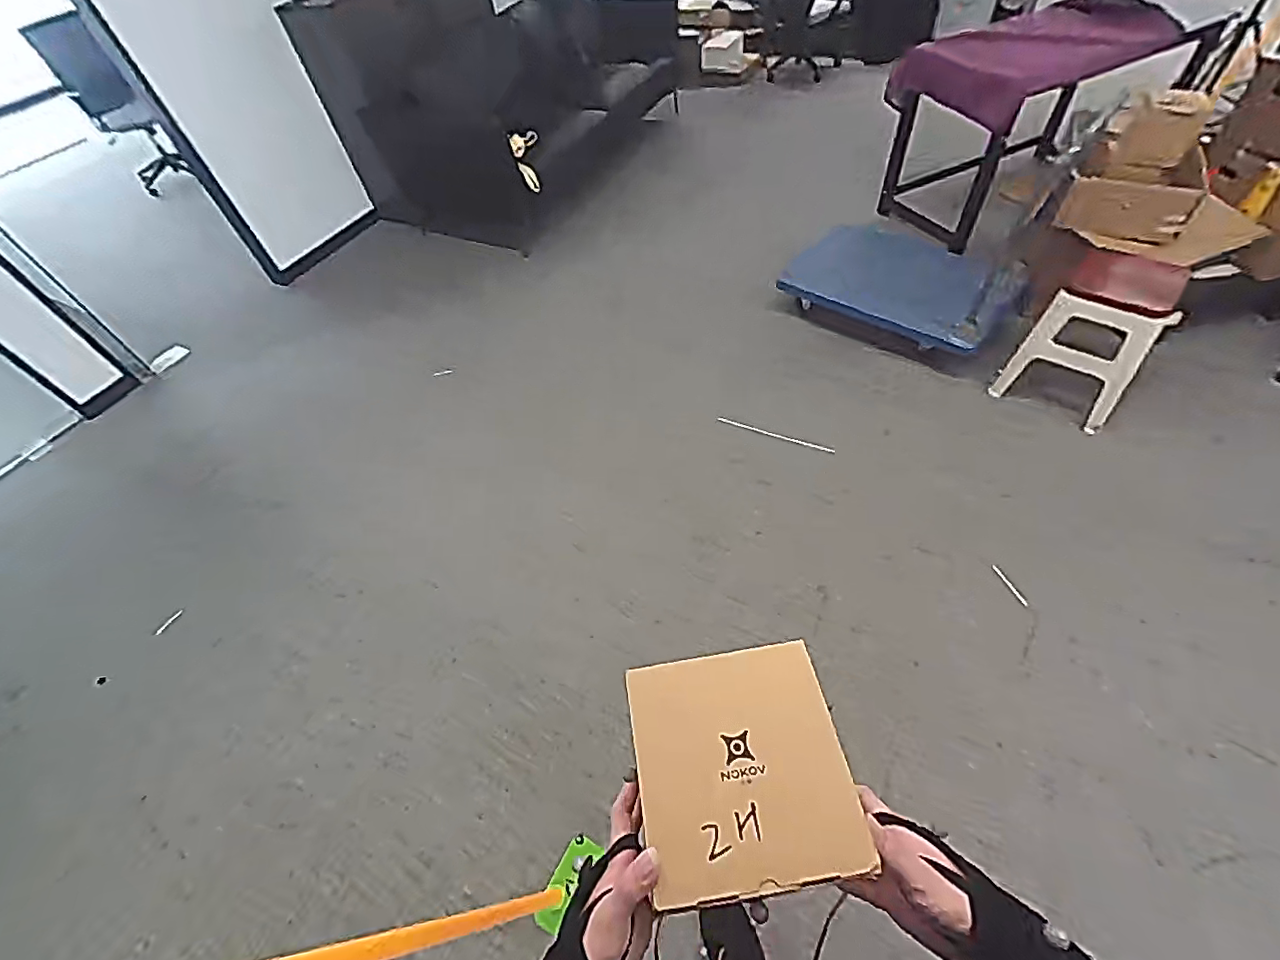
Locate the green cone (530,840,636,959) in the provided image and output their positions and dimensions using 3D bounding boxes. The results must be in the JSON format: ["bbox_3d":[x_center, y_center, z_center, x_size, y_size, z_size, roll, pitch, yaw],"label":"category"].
[{"bbox_3d":[-0.150,0.902,1.145,0.202,0.368,0.200,22,59,21],"label":"green cone"}]

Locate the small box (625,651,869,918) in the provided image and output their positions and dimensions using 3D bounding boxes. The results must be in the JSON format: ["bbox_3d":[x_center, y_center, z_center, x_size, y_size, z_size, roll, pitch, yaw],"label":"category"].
[{"bbox_3d":[0.082,0.284,0.501,0.168,0.176,0.179,-9,51,0],"label":"small box"}]
